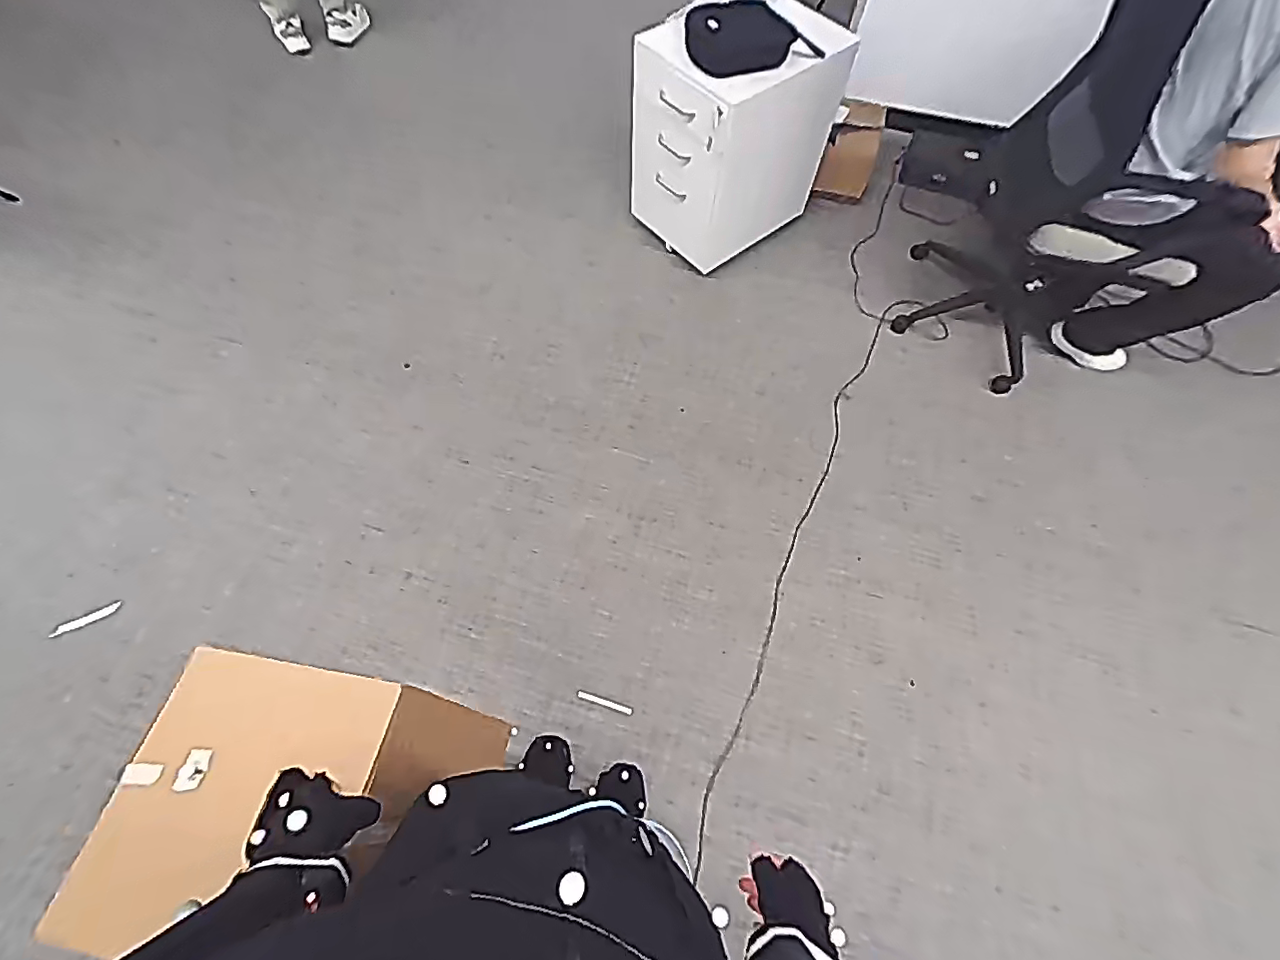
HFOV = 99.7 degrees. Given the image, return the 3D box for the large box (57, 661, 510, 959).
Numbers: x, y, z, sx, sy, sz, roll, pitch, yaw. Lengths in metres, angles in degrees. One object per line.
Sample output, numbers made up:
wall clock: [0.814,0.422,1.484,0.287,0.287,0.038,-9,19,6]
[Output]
large box: [-0.438,0.479,0.787,0.320,0.408,0.320,8,61,12]
